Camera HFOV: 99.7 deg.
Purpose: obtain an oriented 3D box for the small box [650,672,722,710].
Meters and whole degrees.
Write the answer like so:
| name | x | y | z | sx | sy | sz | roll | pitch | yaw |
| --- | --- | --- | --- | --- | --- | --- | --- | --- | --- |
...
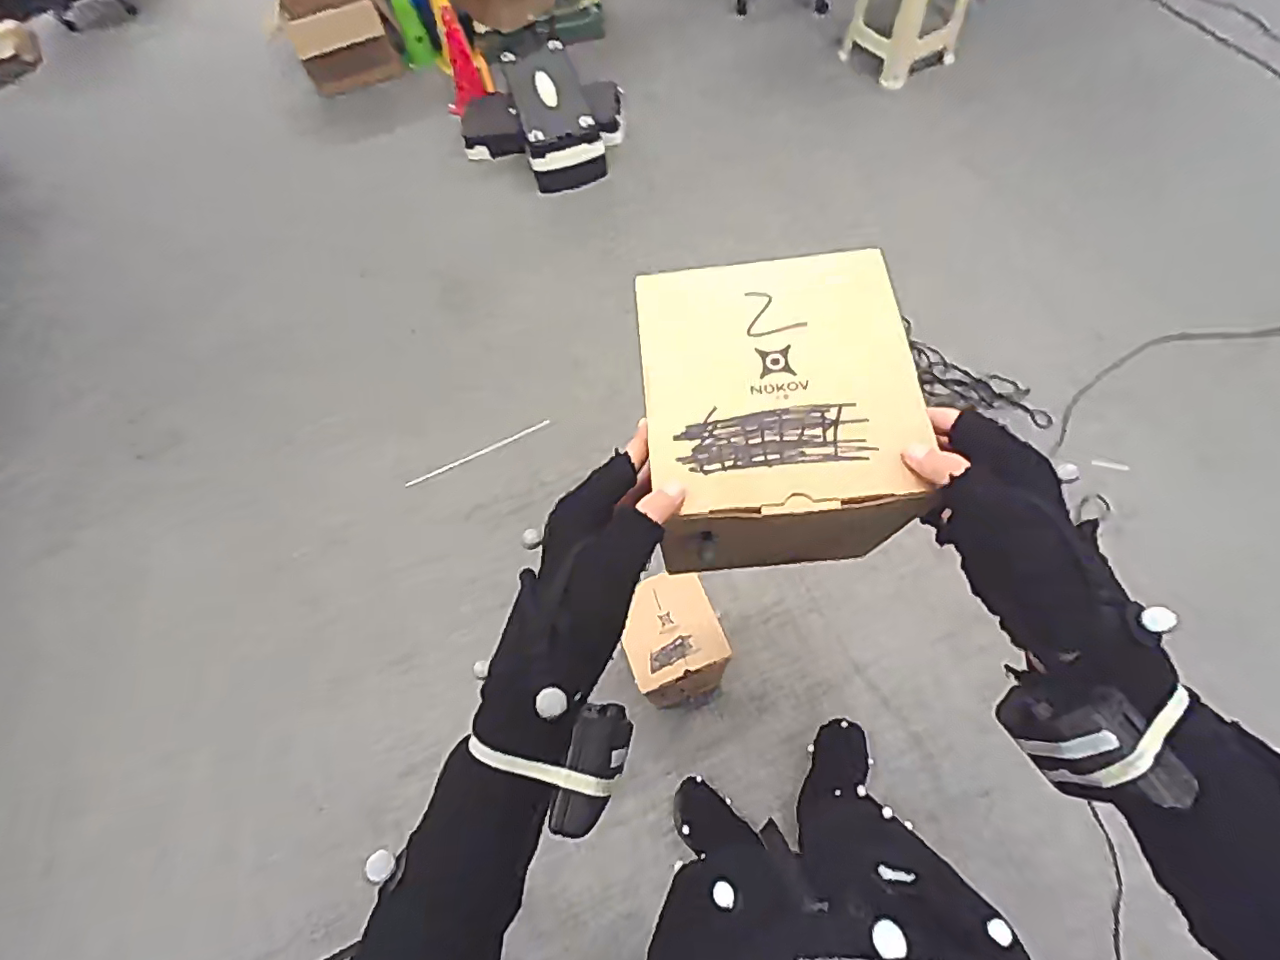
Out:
| name | x | y | z | sx | sy | sz | roll | pitch | yaw |
| --- | --- | --- | --- | --- | --- | --- | --- | --- | --- |
| small box | 0.085 | 0.428 | 1.283 | 0.168 | 0.176 | 0.179 | -20 | 64 | -3 |

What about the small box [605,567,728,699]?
| name | x | y | z | sx | sy | sz | roll | pitch | yaw |
| --- | --- | --- | --- | --- | --- | --- | --- | --- | --- |
| small box | 0.051 | 0.288 | 0.991 | 0.168 | 0.176 | 0.179 | -21 | 64 | -5 |
